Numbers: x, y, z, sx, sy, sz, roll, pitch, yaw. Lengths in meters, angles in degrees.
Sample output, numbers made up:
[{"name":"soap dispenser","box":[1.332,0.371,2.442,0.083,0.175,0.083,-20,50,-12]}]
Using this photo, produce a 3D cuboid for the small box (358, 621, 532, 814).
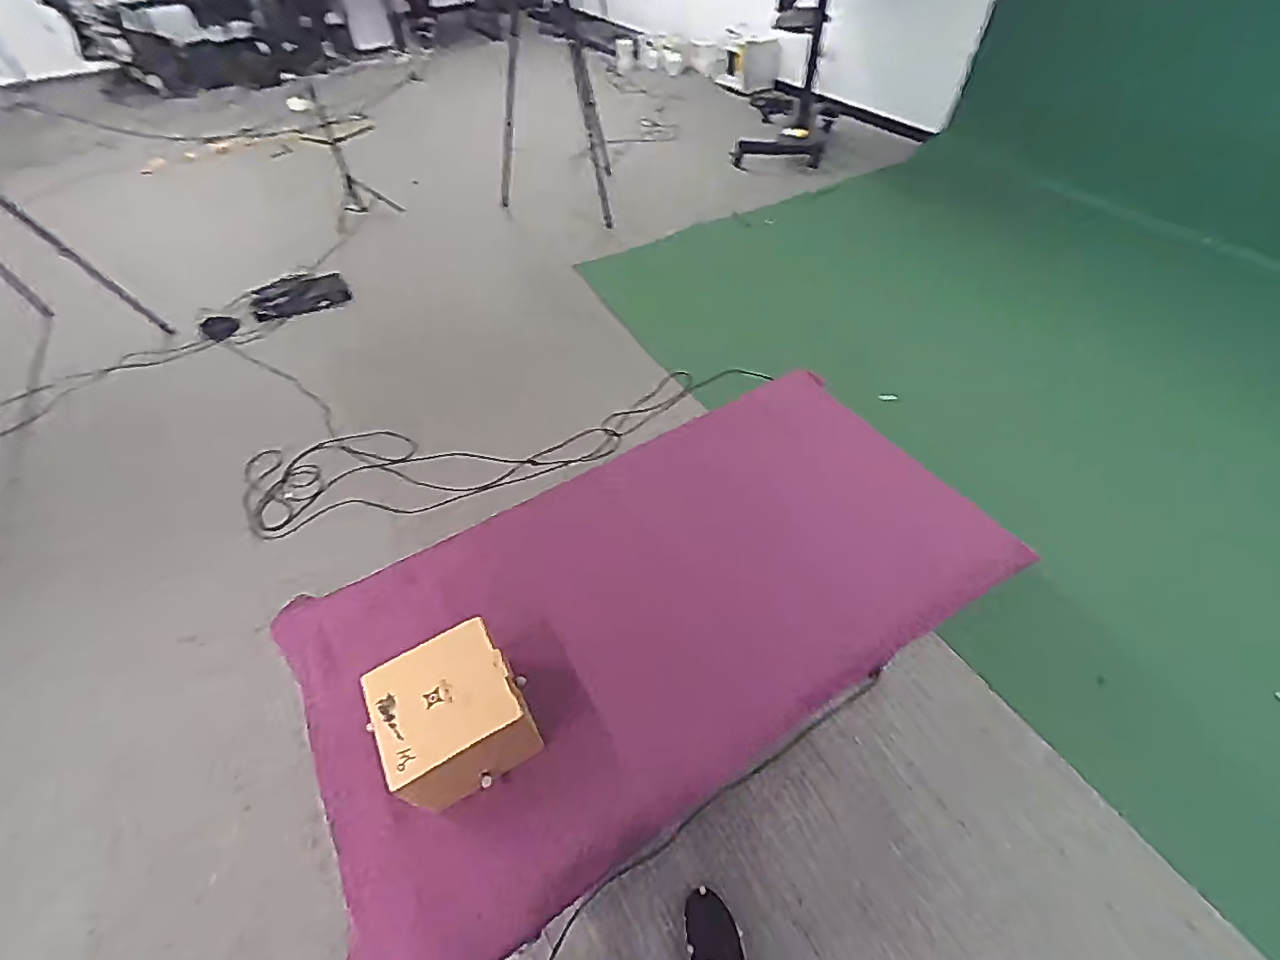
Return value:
[{"name":"small box","box":[-0.265,0.338,0.770,0.179,0.176,0.168,-25,54,-19]}]
